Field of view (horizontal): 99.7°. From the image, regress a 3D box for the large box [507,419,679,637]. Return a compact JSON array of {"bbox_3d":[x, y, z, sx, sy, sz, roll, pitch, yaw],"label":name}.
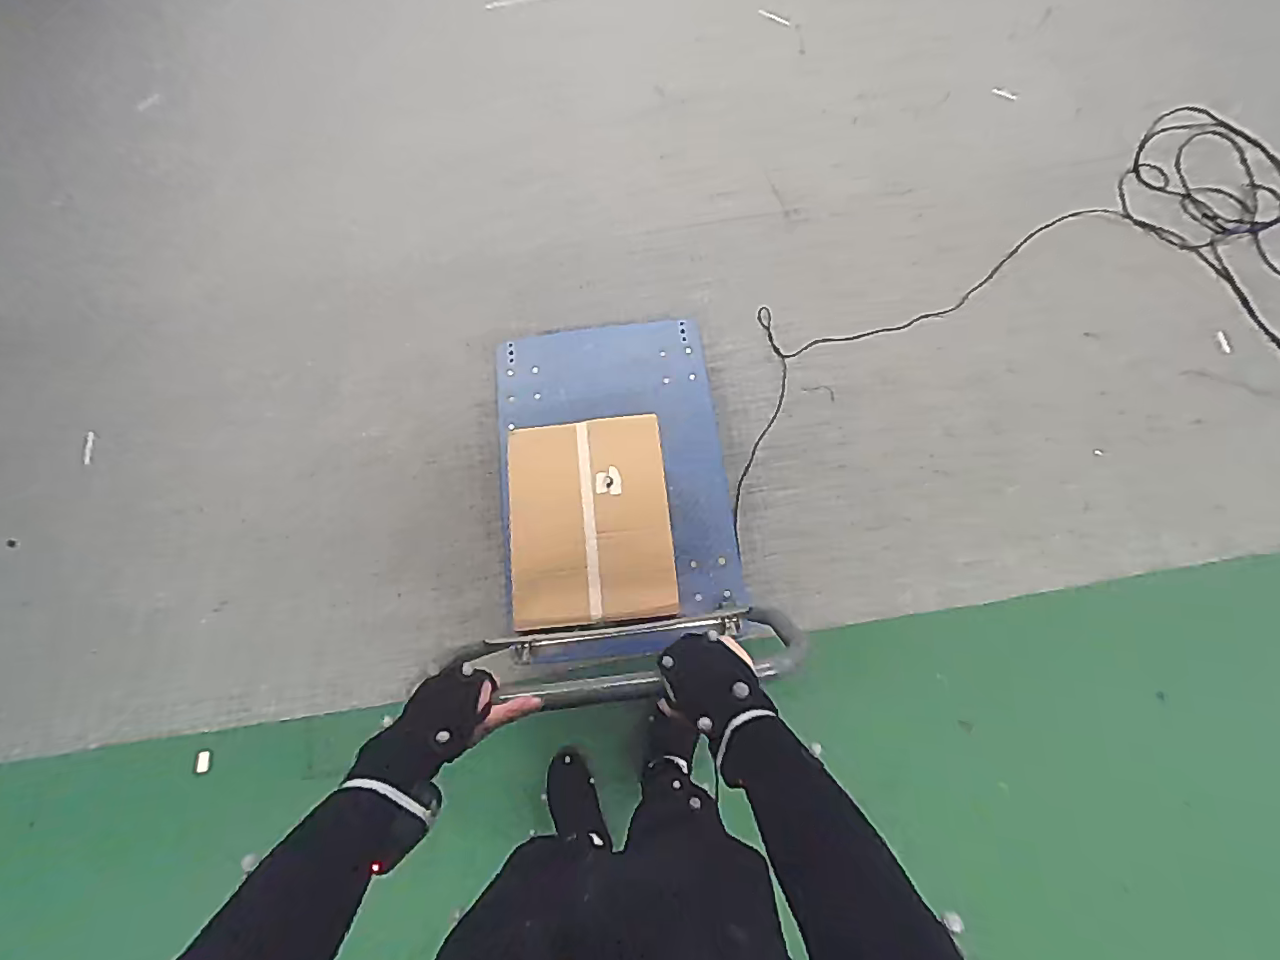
[{"bbox_3d":[-0.096,0.123,1.206,0.320,0.320,0.408,-6,72,0],"label":"large box"}]
